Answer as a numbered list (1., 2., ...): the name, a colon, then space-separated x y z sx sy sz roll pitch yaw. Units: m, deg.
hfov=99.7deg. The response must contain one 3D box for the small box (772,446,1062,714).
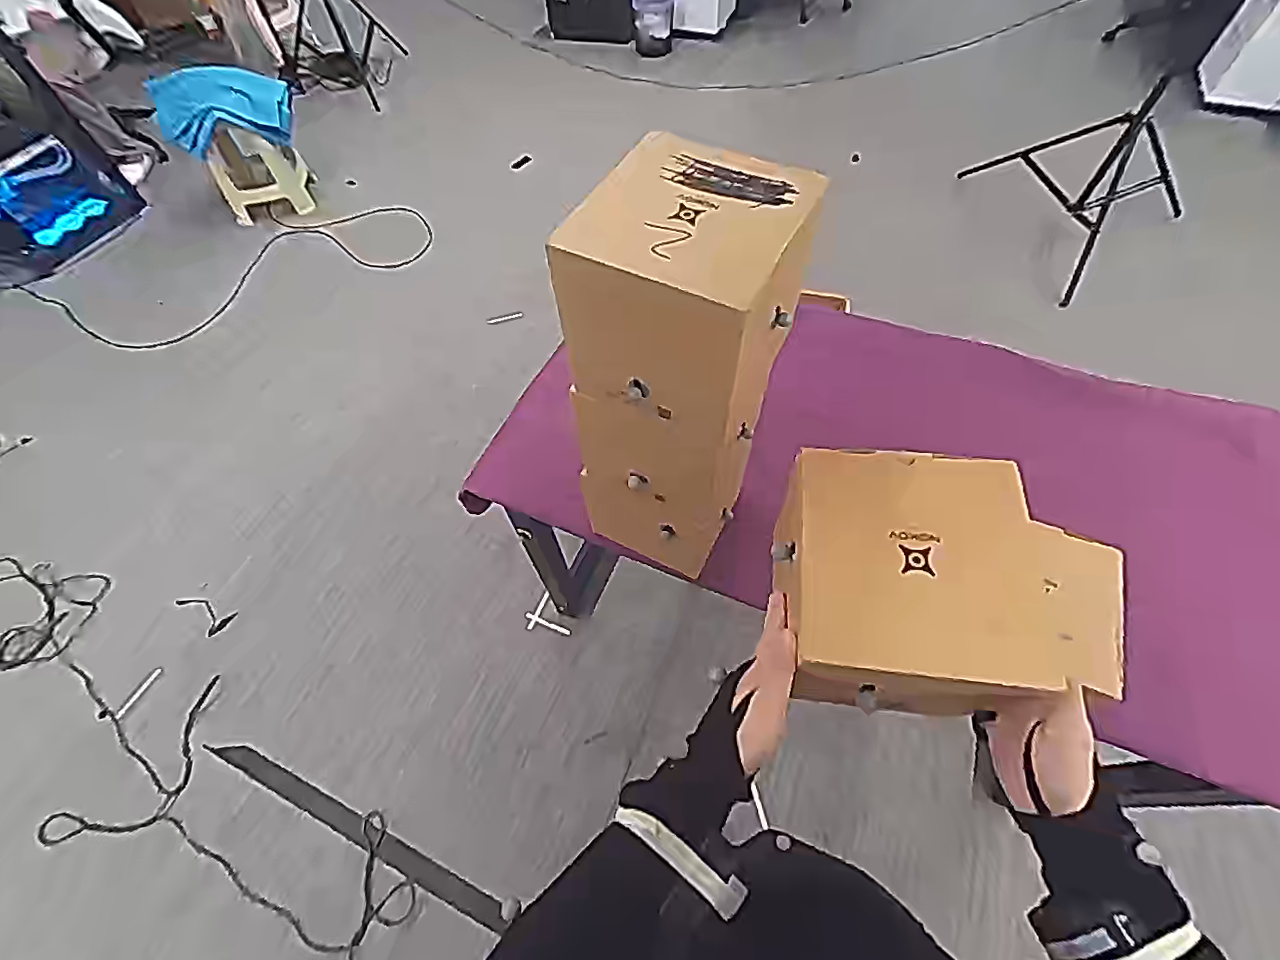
1. small box: 0.207 0.092 0.461 0.168 0.176 0.179 4 60 9

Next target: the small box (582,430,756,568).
1. small box: 0.042 0.004 0.763 0.179 0.176 0.168 23 62 16

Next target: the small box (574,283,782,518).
1. small box: 0.043 -0.087 0.626 0.168 0.176 0.179 23 63 15

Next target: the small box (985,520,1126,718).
1. small box: 0.435 0.161 0.652 0.168 0.176 0.179 19 62 15
